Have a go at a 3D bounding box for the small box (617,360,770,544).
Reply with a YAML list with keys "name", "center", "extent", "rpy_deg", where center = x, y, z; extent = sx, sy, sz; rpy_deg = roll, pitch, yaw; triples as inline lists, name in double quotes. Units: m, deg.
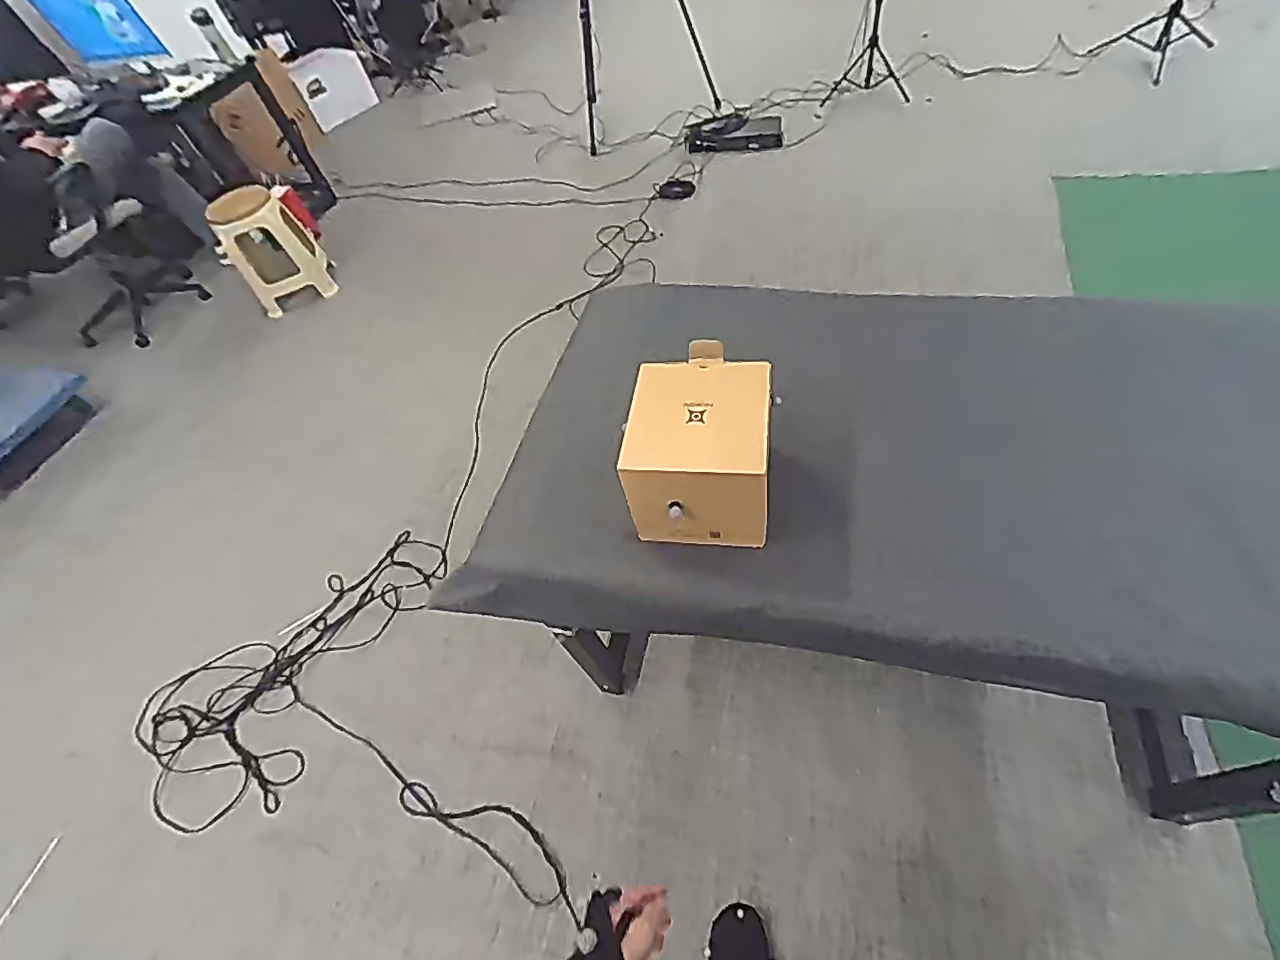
- name: "small box"
  center: [0.080, -0.032, 0.696]
  extent: [0.168, 0.176, 0.179]
  rpy_deg: [2, 54, 13]
